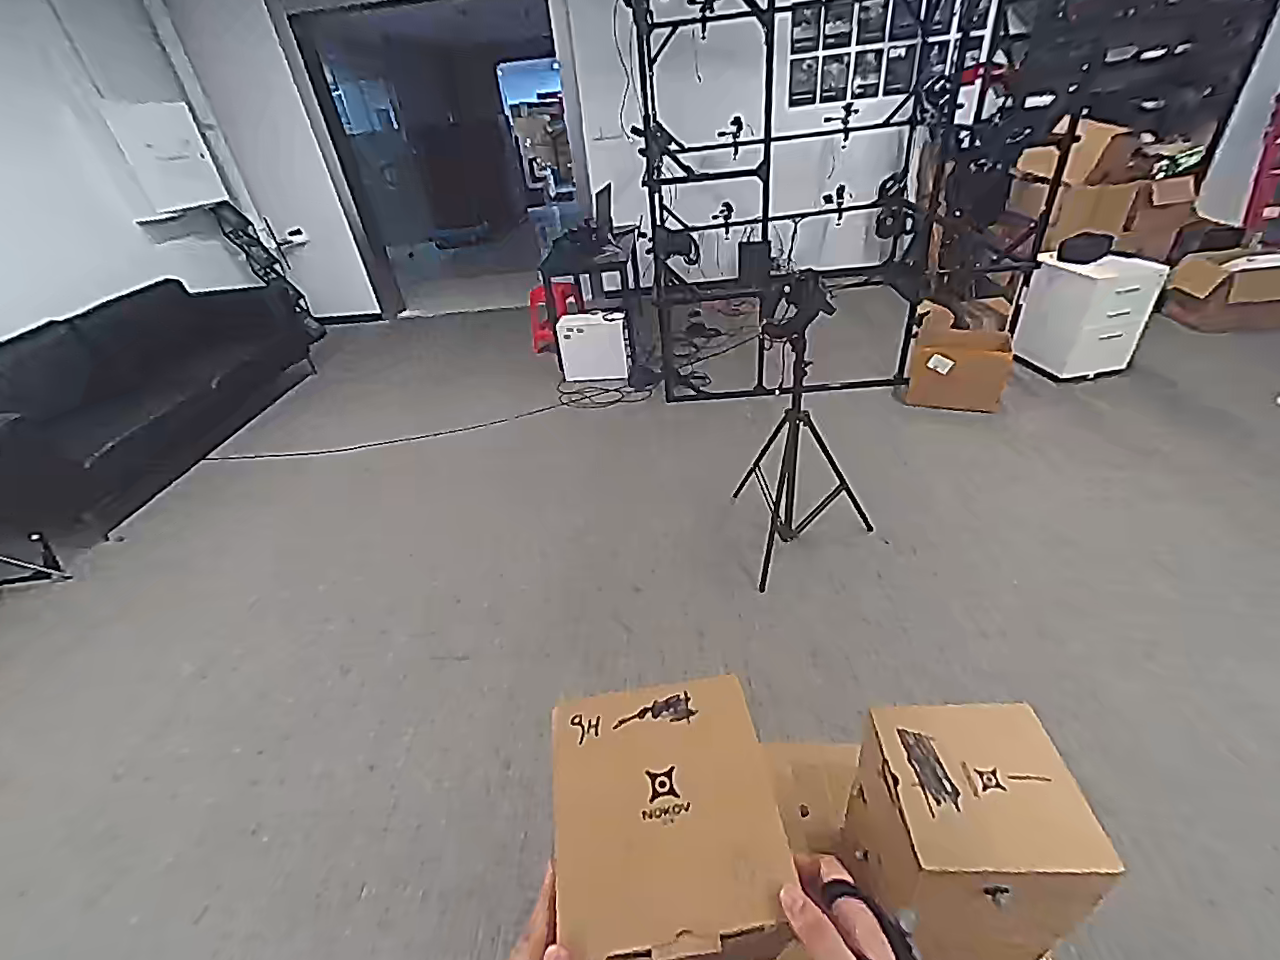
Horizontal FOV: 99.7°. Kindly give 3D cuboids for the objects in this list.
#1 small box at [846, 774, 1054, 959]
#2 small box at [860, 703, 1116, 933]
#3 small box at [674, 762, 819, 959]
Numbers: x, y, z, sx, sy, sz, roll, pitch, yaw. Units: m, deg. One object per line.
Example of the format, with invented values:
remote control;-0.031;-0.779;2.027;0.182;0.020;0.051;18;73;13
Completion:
small box;0.370;0.504;0.689;0.168;0.176;0.179;-5;35;7
small box;0.352;0.369;0.595;0.179;0.176;0.168;-4;35;7
small box;0.130;0.508;0.724;0.168;0.176;0.179;-3;35;4
